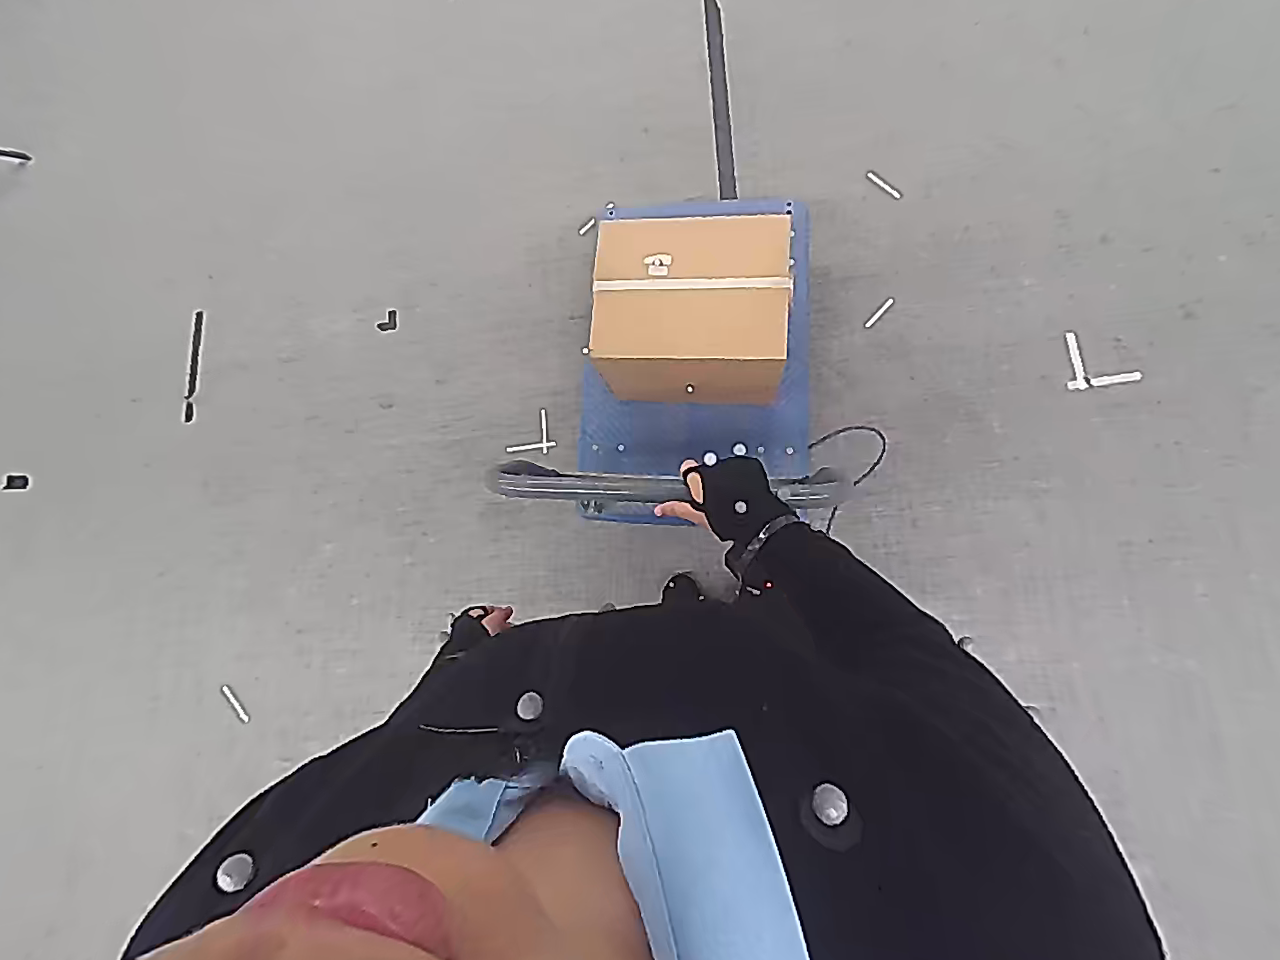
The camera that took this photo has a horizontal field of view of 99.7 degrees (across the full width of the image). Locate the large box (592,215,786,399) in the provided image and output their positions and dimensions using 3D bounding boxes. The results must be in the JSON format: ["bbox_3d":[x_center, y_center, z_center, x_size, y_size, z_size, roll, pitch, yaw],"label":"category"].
[{"bbox_3d":[0.126,-0.379,1.275,0.408,0.320,0.320,2,81,10],"label":"large box"}]
